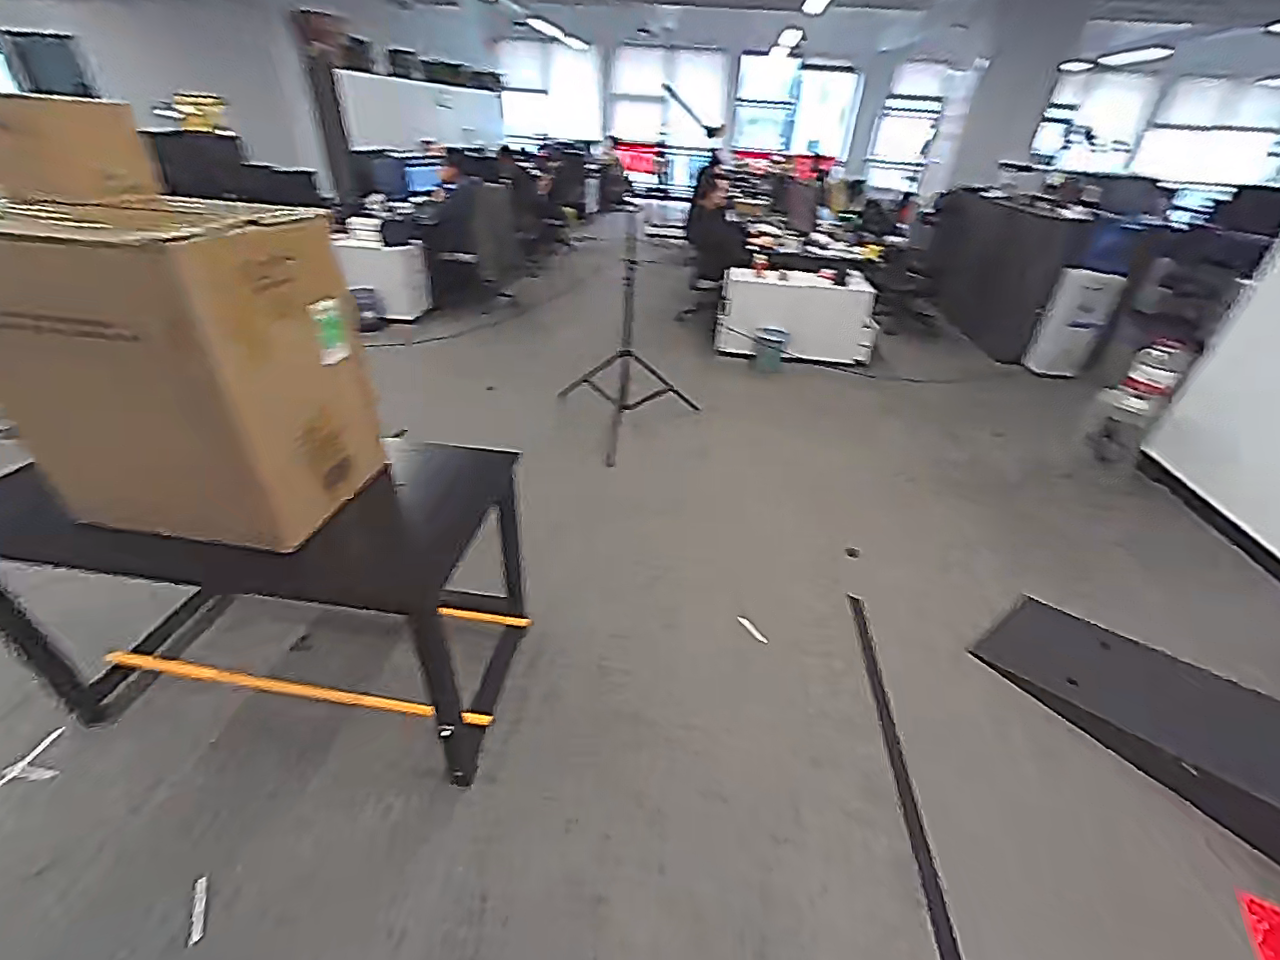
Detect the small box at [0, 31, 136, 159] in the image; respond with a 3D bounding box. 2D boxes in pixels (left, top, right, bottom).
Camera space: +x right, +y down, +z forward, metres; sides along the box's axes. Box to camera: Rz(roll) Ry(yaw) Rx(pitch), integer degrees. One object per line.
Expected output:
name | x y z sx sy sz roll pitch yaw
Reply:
small box | -1.061 -0.669 0.947 0.179 0.176 0.168 9 32 5
